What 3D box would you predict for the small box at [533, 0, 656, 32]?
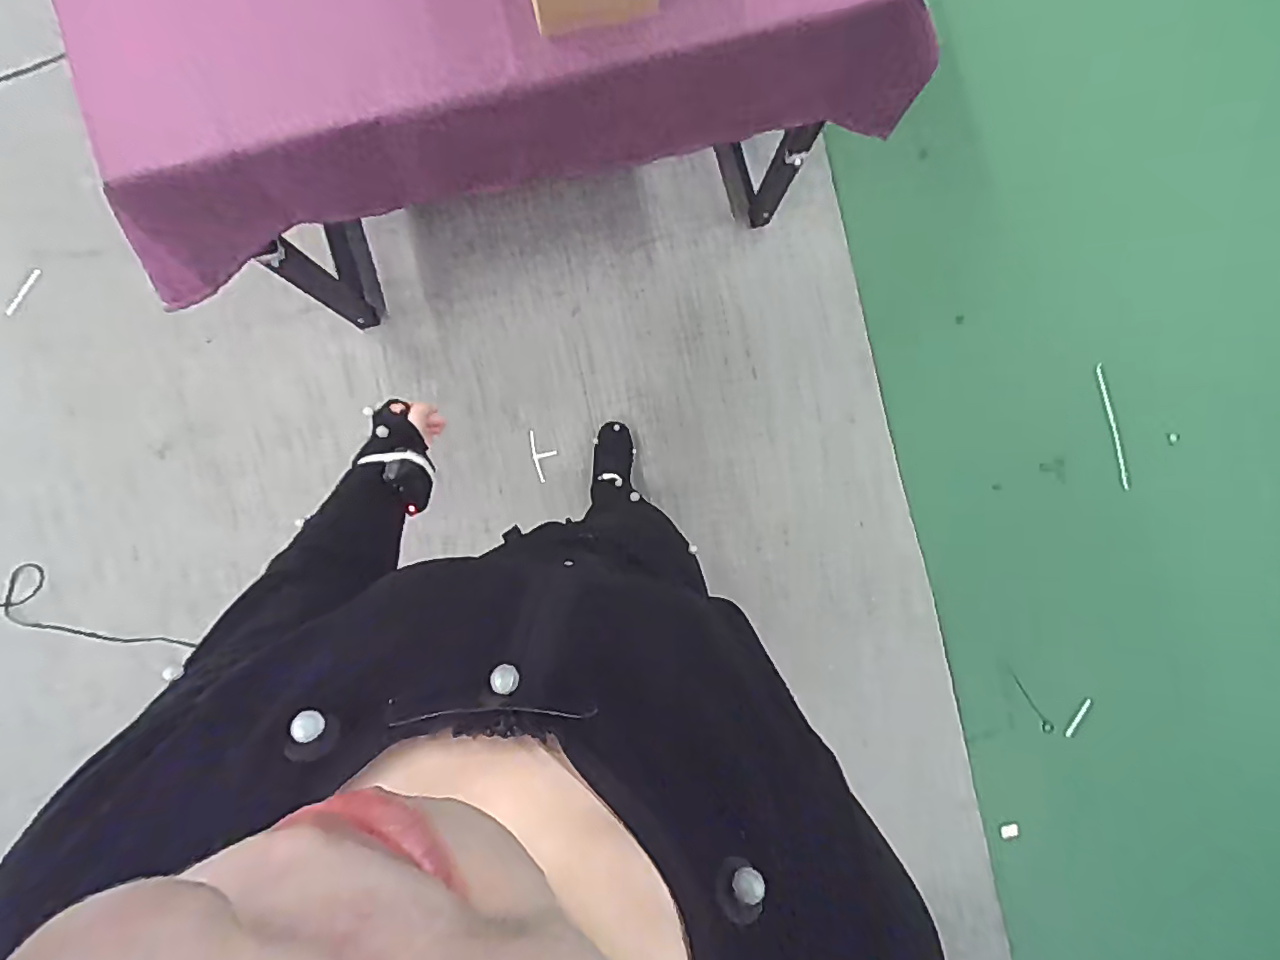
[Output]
[{"bbox_3d":[-0.072,-0.737,0.707,0.179,0.176,0.168,-13,89,-4],"label":"small box"}]
